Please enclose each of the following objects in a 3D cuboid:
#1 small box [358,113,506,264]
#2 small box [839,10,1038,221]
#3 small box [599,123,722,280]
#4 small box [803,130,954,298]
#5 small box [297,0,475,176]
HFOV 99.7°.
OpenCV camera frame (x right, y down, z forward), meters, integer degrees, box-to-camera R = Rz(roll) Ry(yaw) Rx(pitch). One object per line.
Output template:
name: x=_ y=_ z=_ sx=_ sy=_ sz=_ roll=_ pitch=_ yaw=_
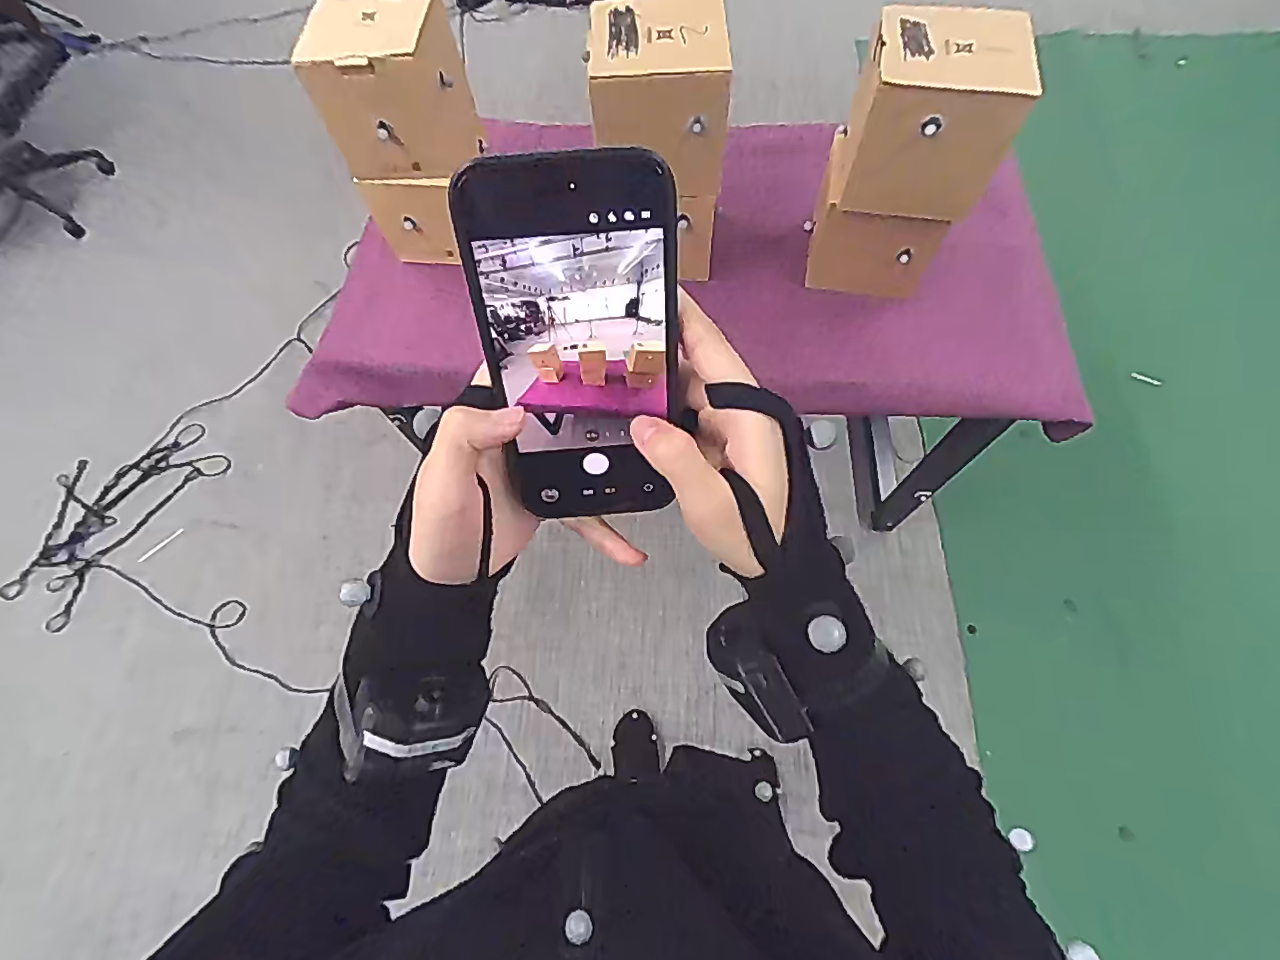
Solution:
small box: x=-0.348 y=-0.503 z=0.944 sx=0.168 sy=0.176 sz=0.179 roll=5 pitch=66 yaw=6
small box: x=0.372 y=-0.467 z=0.706 sx=0.179 sy=0.176 sz=0.168 roll=10 pitch=67 yaw=7
small box: x=0.038 y=-0.454 z=0.898 sx=0.179 sy=0.176 sz=0.168 roll=4 pitch=66 yaw=6
small box: x=0.374 y=-0.415 z=0.861 sx=0.179 sy=0.176 sz=0.168 roll=10 pitch=67 yaw=8
small box: x=-0.356 y=-0.577 z=0.797 sx=0.168 sy=0.176 sz=0.179 roll=0 pitch=67 yaw=3
